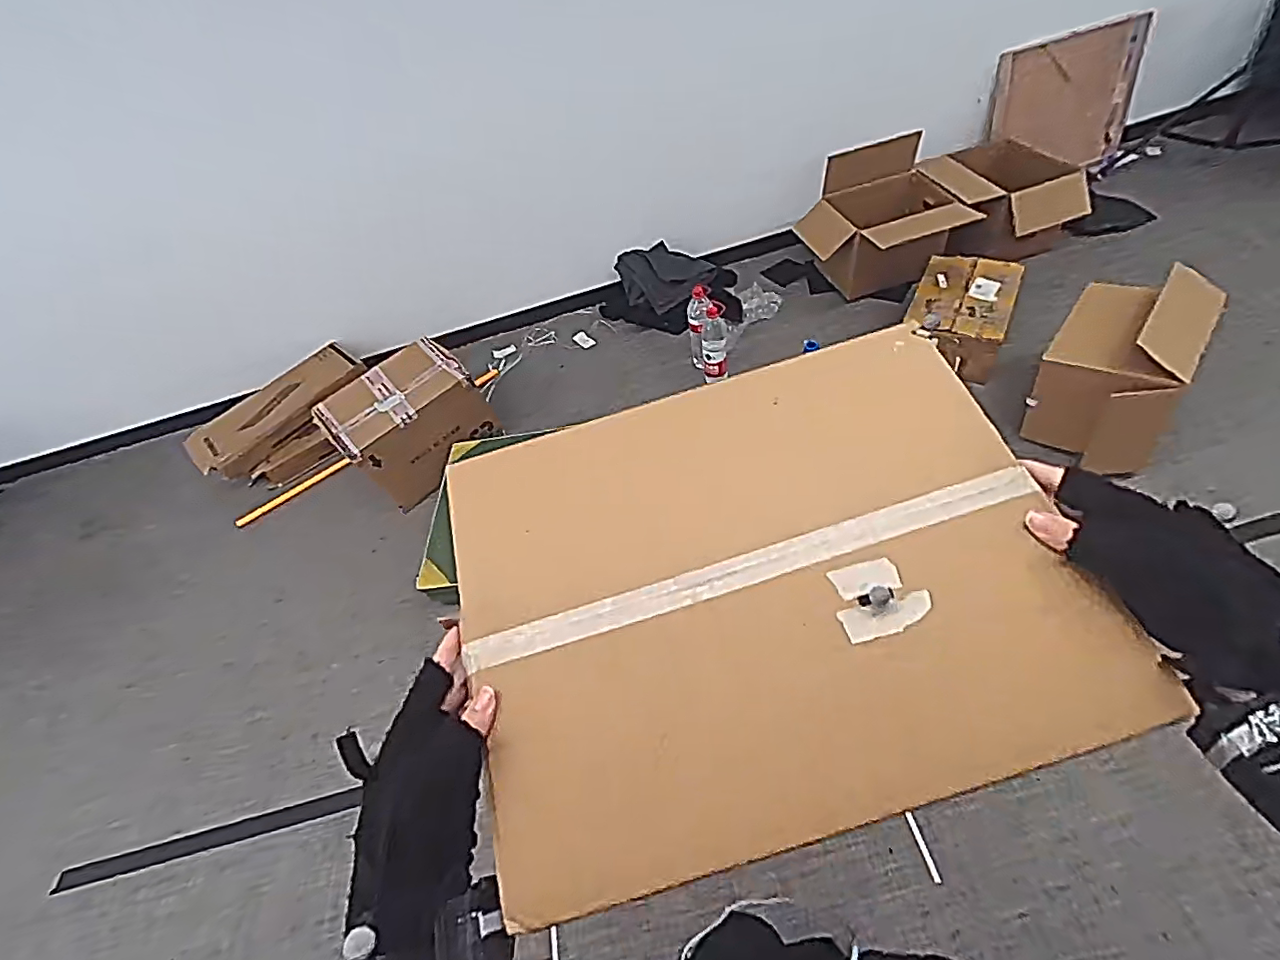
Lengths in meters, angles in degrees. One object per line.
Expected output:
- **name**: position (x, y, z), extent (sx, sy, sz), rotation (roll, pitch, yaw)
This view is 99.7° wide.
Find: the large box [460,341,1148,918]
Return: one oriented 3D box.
- **large box**: position (0.095, 0.135, 0.519), extent (0.408, 0.320, 0.320), rotation (-17, 63, -2)
